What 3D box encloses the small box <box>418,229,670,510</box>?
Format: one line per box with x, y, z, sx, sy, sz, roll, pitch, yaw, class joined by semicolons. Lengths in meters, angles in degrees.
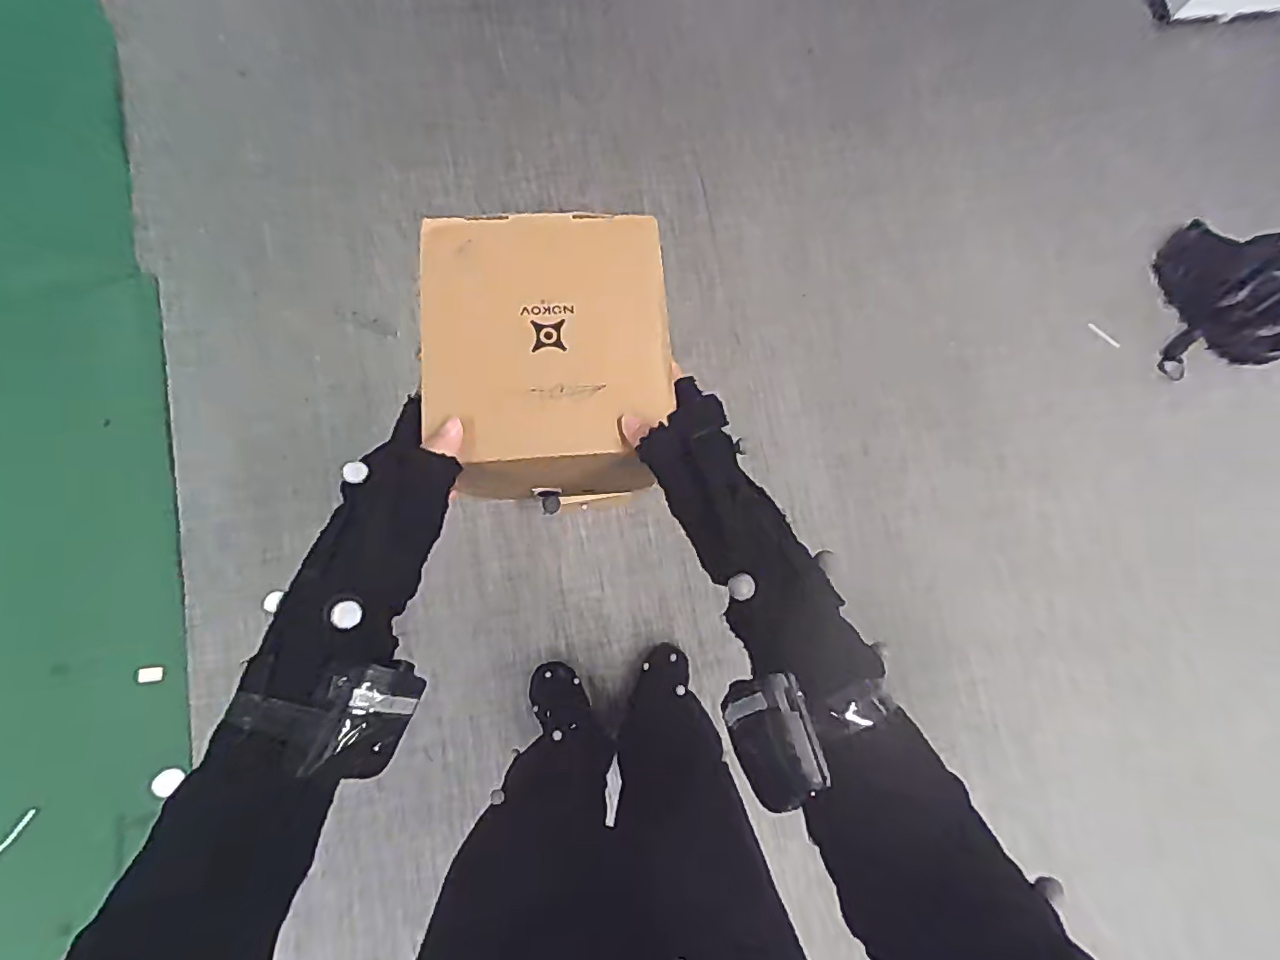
-0.073;-0.077;0.447;0.168;0.176;0.179;-5;80;-5;small box

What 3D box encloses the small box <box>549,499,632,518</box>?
-0.113;-0.013;1.190;0.179;0.176;0.168;-9;82;-5;small box
